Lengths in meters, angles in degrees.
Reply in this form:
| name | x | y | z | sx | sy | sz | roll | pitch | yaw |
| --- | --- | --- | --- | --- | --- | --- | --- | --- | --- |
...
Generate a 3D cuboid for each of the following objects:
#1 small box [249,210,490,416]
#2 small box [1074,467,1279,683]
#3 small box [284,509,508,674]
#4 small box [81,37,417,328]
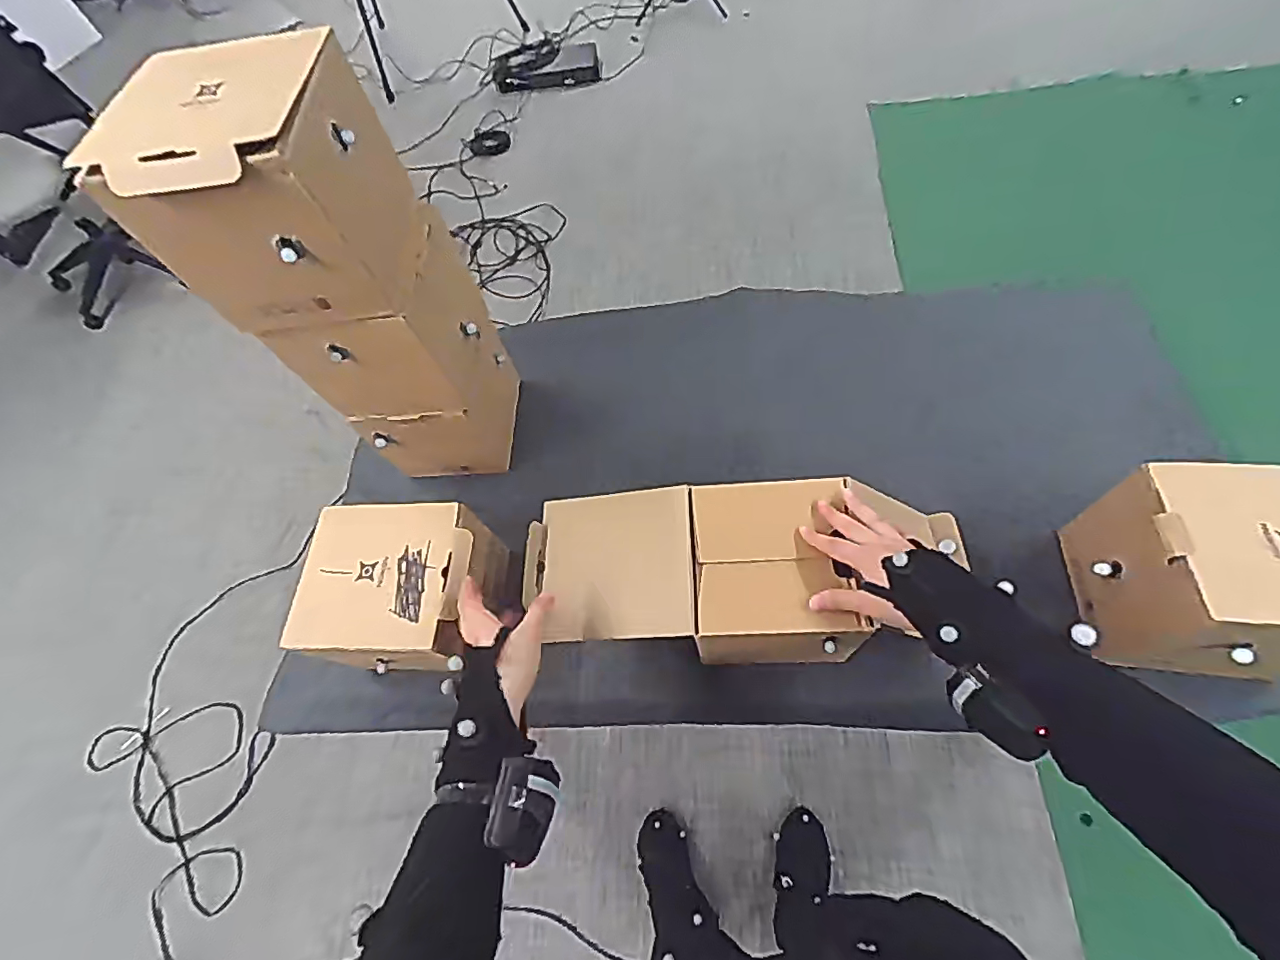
| name | x | y | z | sx | sy | sz | roll | pitch | yaw |
| --- | --- | --- | --- | --- | --- | --- | --- | --- | --- |
| small box | -0.302 | -0.188 | 0.646 | 0.179 | 0.176 | 0.168 | -2 | 65 | 7 |
| small box | 0.590 | 0.101 | 0.553 | 0.179 | 0.176 | 0.168 | 2 | 60 | 10 |
| small box | -0.278 | 0.142 | 0.664 | 0.179 | 0.176 | 0.168 | -2 | 64 | 8 |
| small box | -0.330 | -0.259 | 0.502 | 0.168 | 0.176 | 0.179 | -5 | 62 | 4 |
